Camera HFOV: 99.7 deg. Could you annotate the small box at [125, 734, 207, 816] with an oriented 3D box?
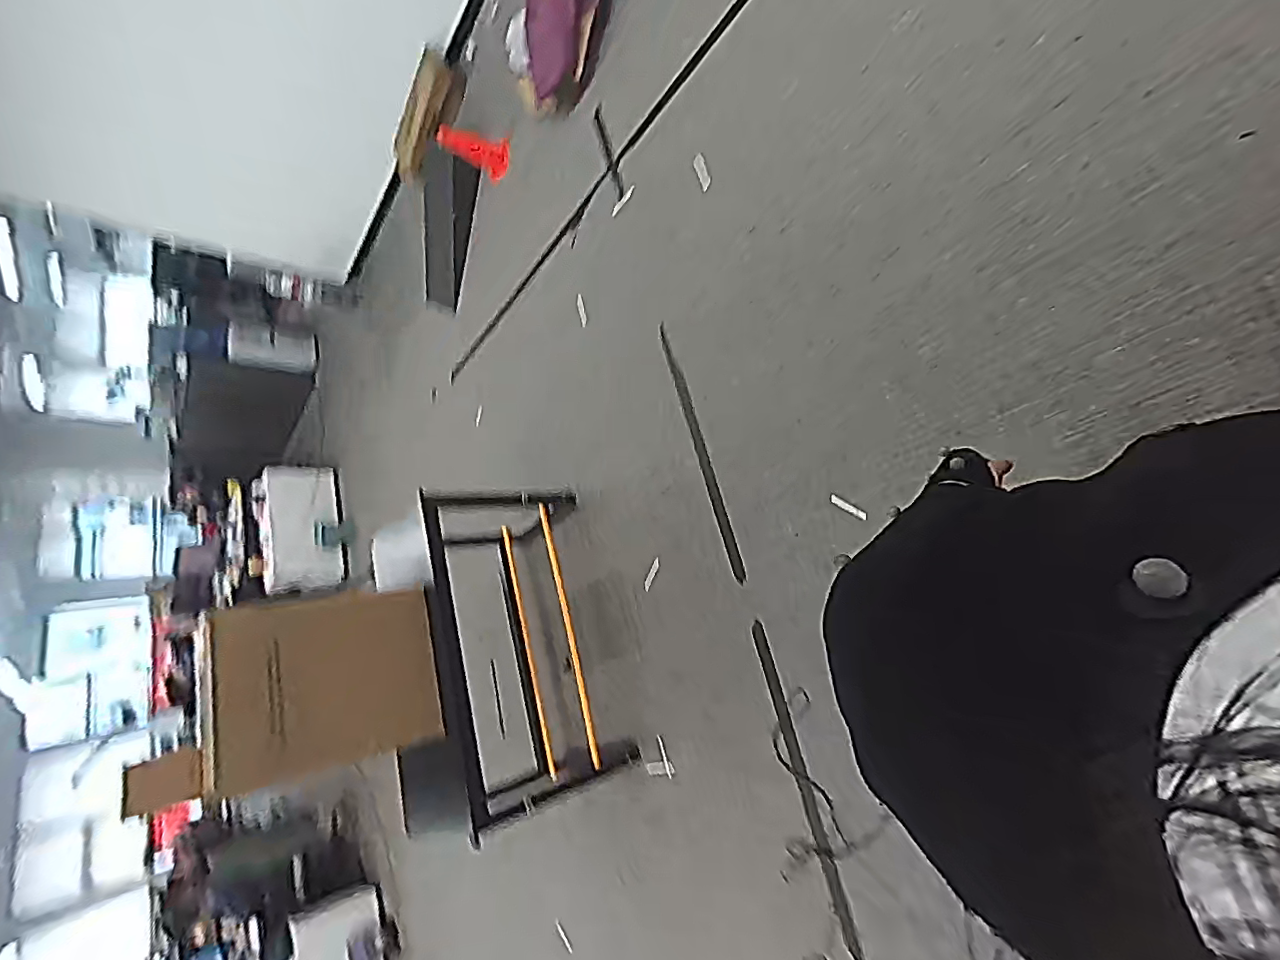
[{"bbox_3d":[-1.367,0.849,1.564,0.179,0.176,0.168,-35,64,43],"label":"small box"}]
